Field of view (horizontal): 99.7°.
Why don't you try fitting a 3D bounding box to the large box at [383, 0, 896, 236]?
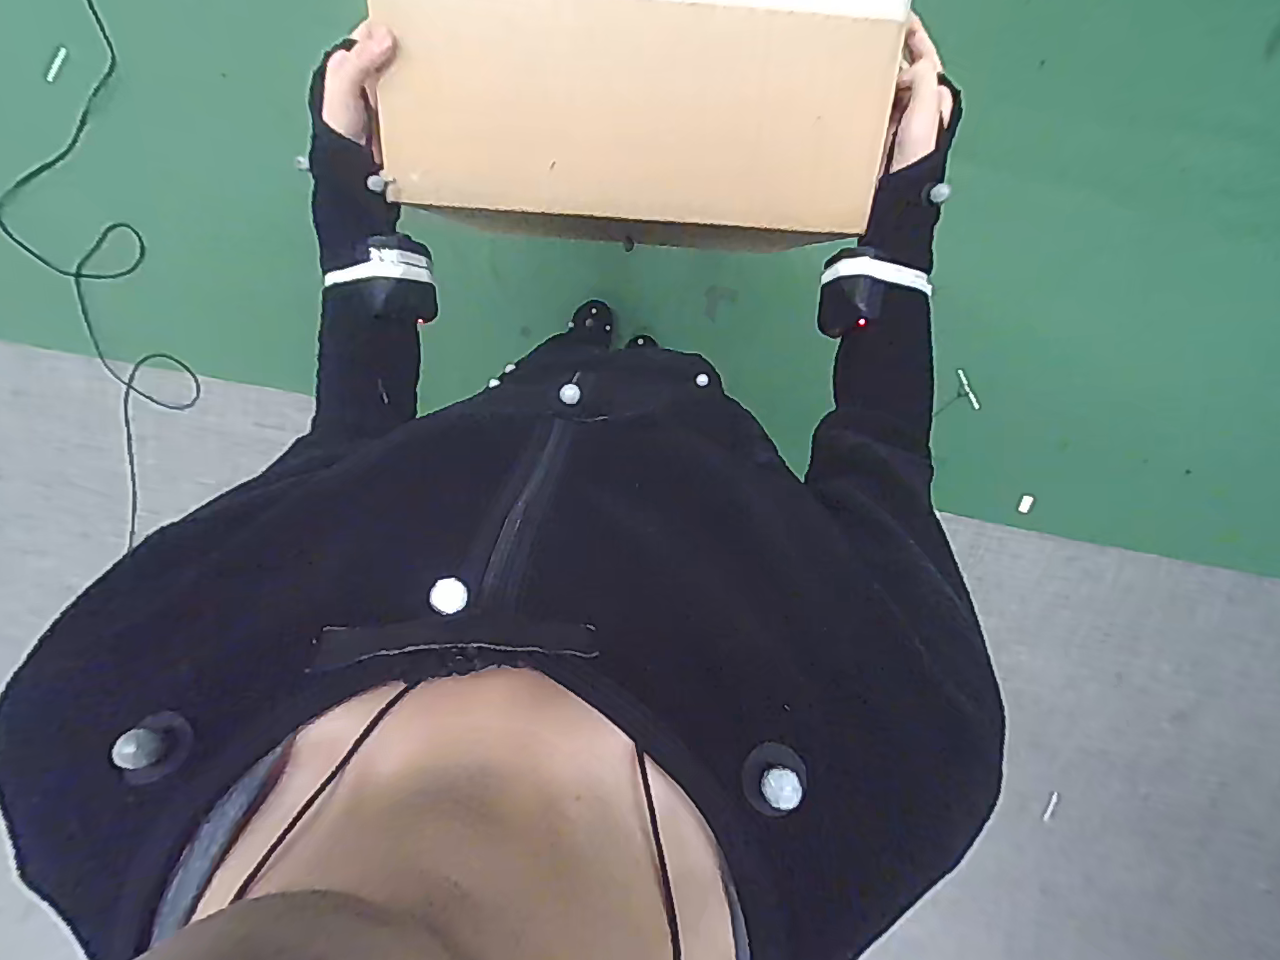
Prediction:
[{"bbox_3d":[0.000,-0.431,0.553,0.408,0.320,0.320,3,110,-3],"label":"large box"}]
